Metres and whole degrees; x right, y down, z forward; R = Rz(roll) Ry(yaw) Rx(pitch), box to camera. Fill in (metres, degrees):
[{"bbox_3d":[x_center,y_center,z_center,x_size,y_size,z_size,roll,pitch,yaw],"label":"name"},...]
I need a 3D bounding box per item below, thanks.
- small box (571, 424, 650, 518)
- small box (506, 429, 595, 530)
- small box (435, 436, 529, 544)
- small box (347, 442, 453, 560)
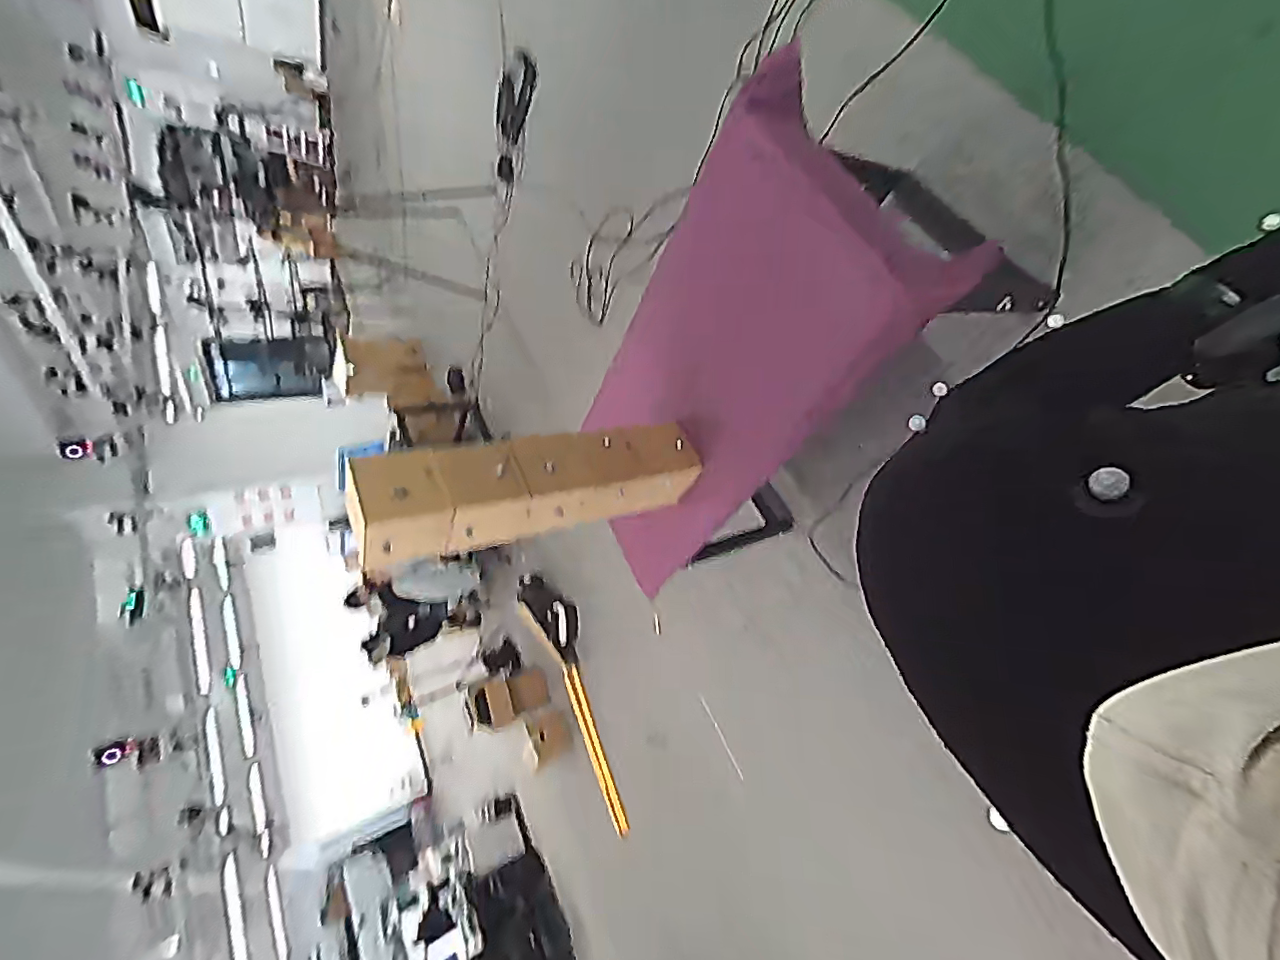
[{"bbox_3d":[-0.096,-0.028,1.394,0.168,0.176,0.179,62,143,24],"label":"small box"},{"bbox_3d":[-0.231,-0.008,1.306,0.179,0.176,0.168,61,141,24],"label":"small box"},{"bbox_3d":[-0.363,0.019,1.212,0.168,0.176,0.179,62,141,25],"label":"small box"},{"bbox_3d":[-0.496,0.039,1.120,0.168,0.176,0.179,61,142,25],"label":"small box"}]
